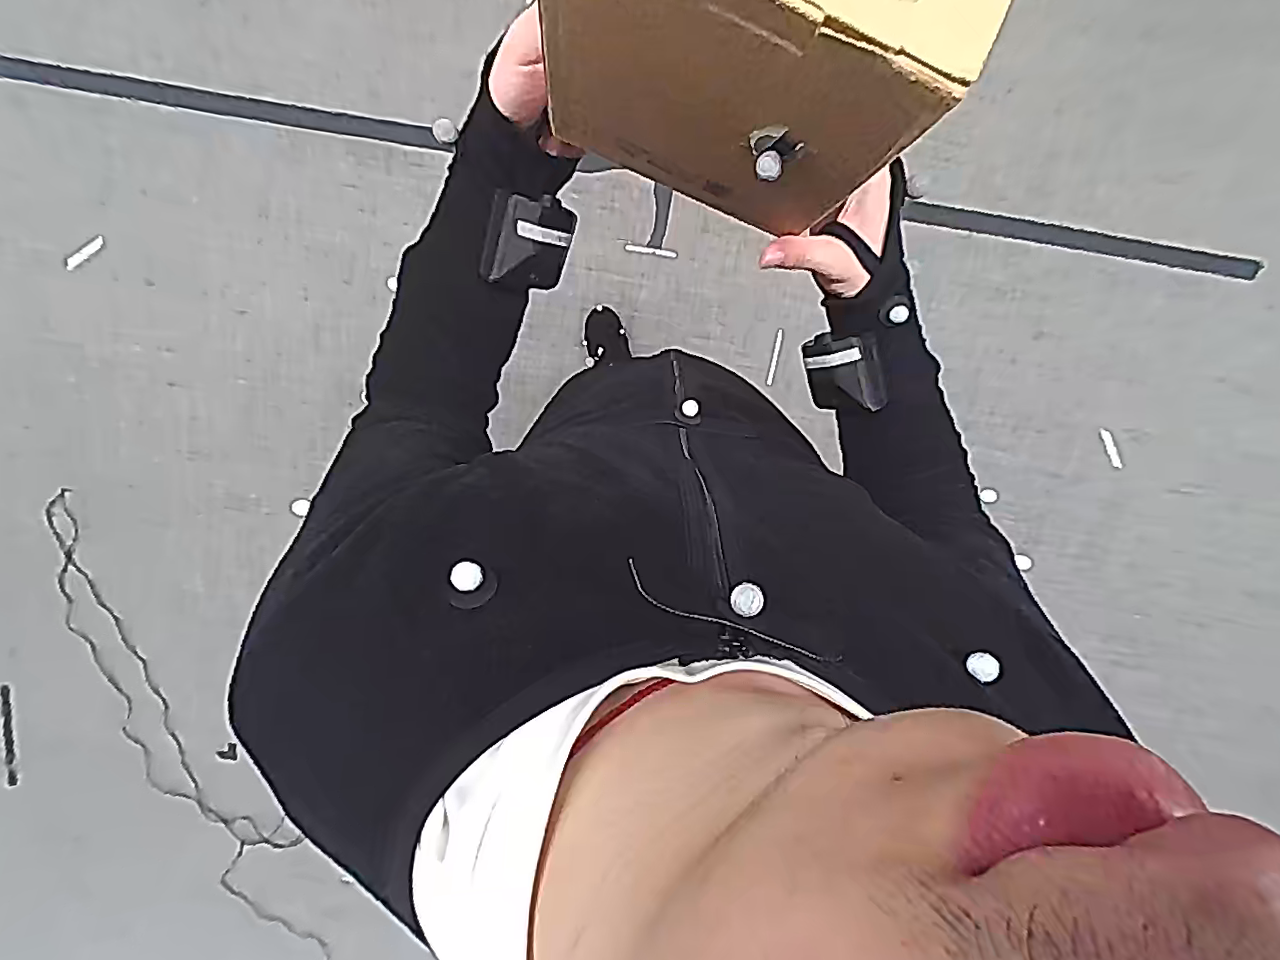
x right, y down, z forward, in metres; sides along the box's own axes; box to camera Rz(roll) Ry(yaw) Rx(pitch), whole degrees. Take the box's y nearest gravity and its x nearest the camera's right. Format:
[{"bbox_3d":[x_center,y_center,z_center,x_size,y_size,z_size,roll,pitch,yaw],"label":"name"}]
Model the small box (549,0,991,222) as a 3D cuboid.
[{"bbox_3d":[0.061,-0.259,0.261,0.168,0.176,0.179,20,93,-10],"label":"small box"}]
